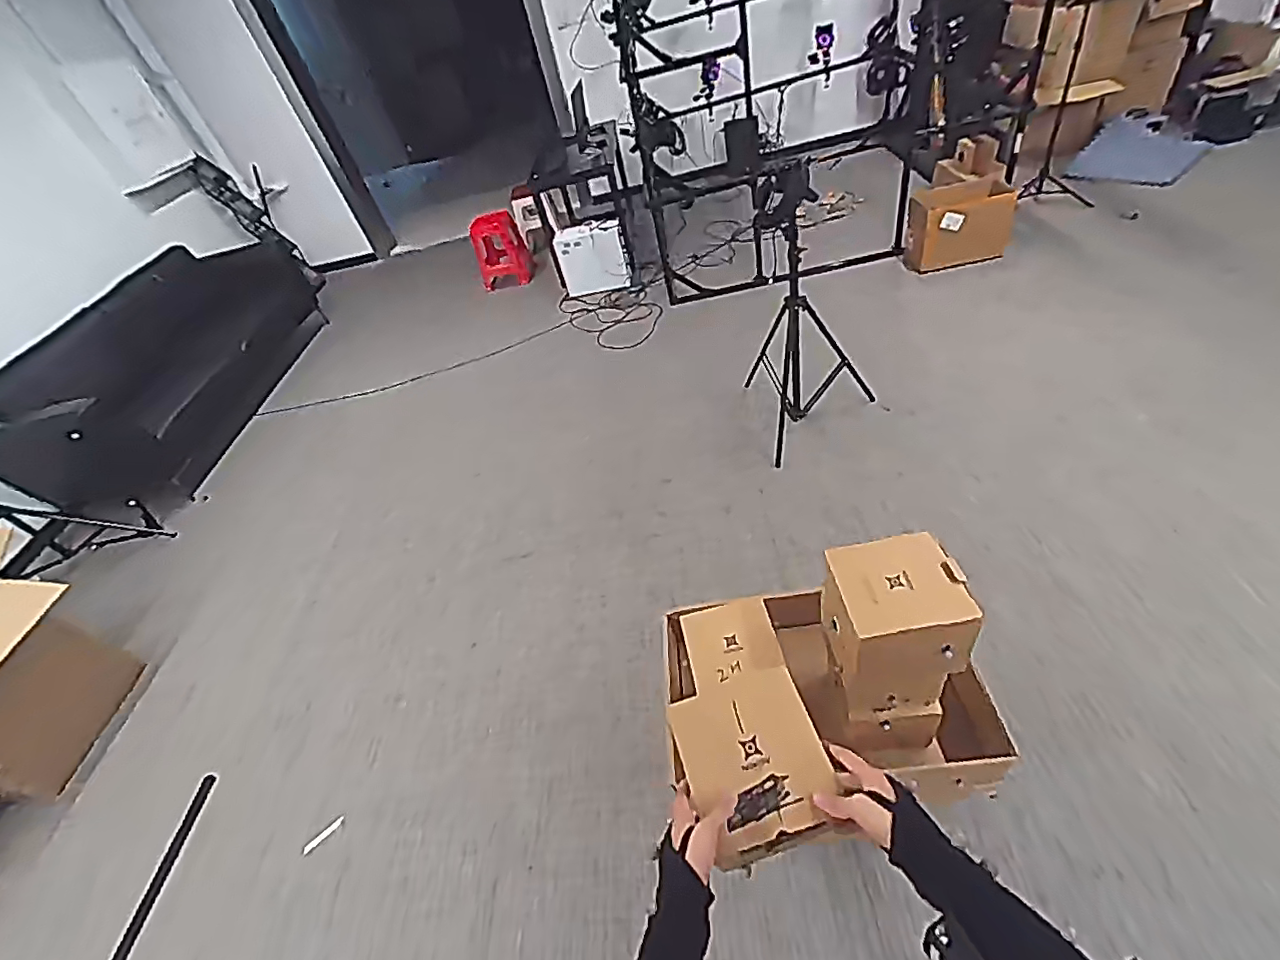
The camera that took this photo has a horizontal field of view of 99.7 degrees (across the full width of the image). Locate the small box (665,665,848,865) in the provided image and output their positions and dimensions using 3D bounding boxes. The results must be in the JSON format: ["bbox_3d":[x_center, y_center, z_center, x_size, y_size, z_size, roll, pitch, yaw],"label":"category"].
[{"bbox_3d":[0.144,0.373,0.698,0.168,0.176,0.179,-18,49,-2],"label":"small box"}]

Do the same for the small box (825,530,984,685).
[{"bbox_3d":[0.408,0.208,0.871,0.179,0.176,0.168,-12,43,6],"label":"small box"}]

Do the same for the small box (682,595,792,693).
[{"bbox_3d":[0.186,0.355,1.038,0.168,0.176,0.179,-15,44,4],"label":"small box"}]
